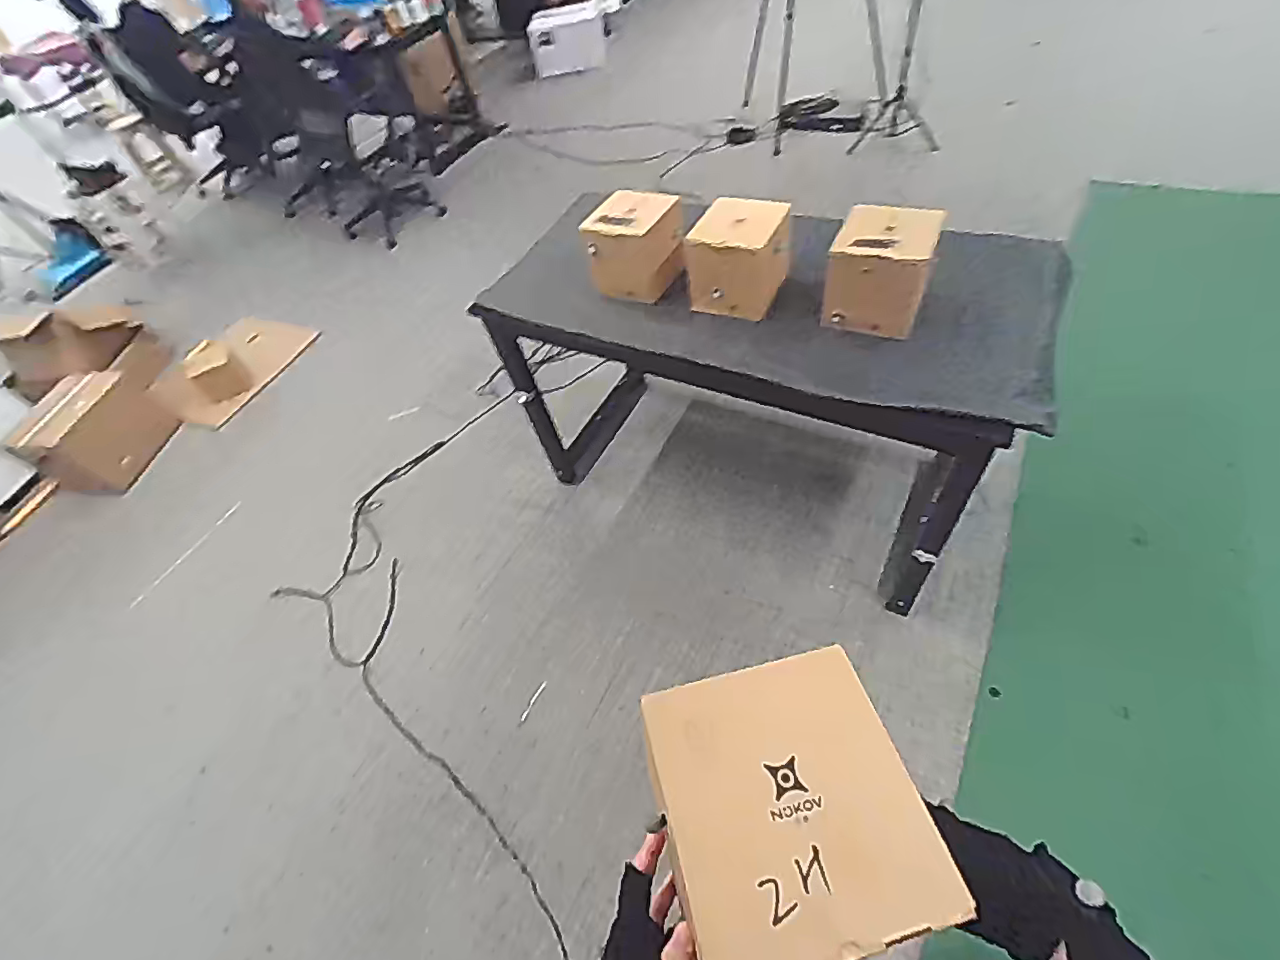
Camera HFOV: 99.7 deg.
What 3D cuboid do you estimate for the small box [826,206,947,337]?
[{"bbox_3d":[0.471,-0.403,1.052,0.168,0.176,0.179,18,58,24],"label":"small box"}]

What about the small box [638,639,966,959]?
[{"bbox_3d":[0.097,0.256,0.423,0.168,0.176,0.179,-13,50,-7],"label":"small box"}]

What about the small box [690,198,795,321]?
[{"bbox_3d":[0.220,-0.473,1.162,0.168,0.176,0.179,19,59,24],"label":"small box"}]
